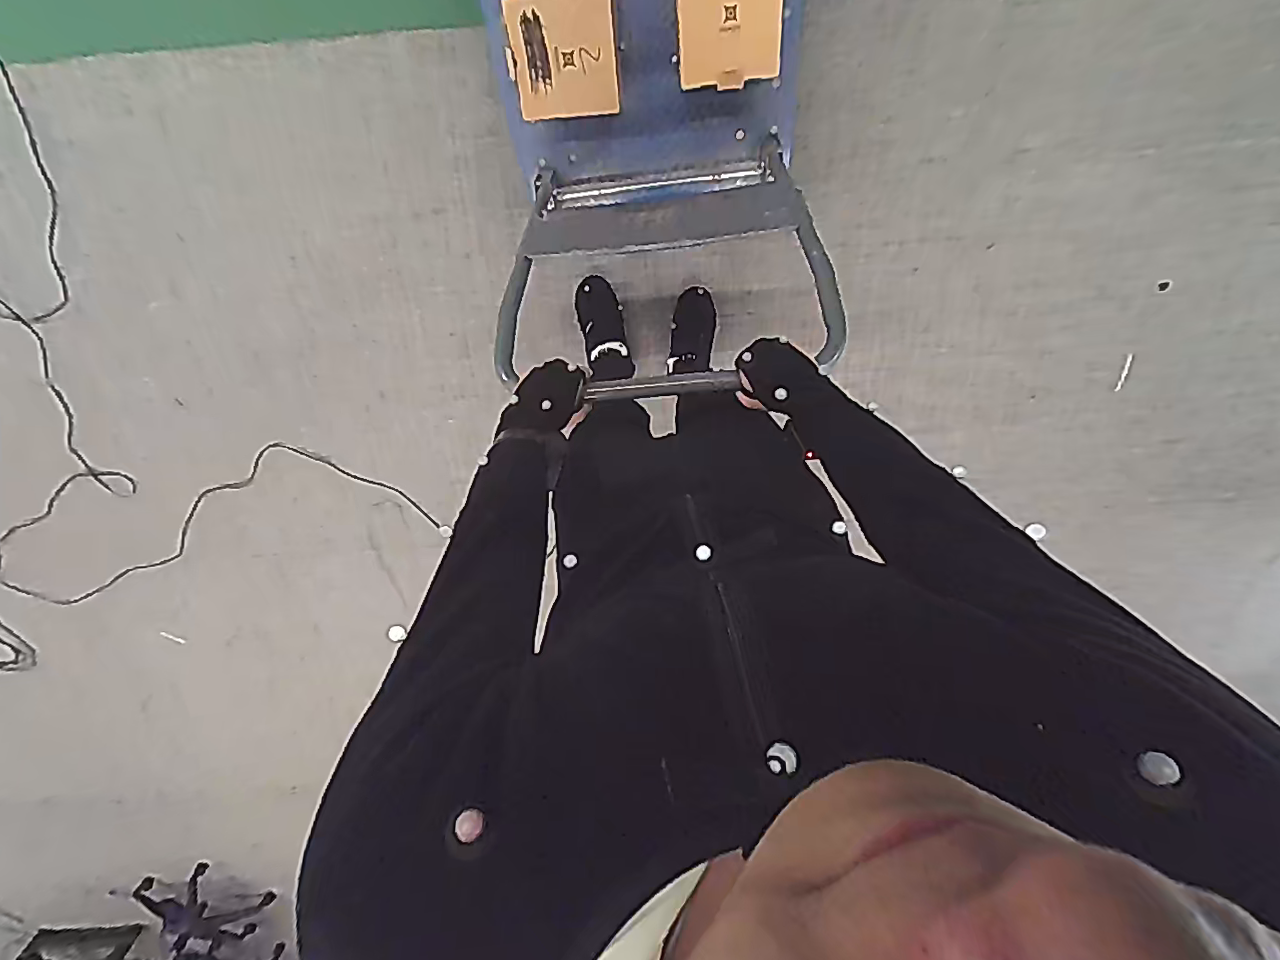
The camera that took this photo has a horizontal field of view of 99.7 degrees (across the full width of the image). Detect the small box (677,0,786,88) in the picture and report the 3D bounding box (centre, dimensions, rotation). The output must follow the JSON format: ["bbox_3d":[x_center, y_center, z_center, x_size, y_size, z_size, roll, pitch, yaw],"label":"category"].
[{"bbox_3d":[0.149,-0.794,0.914,0.168,0.176,0.179,-4,136,6],"label":"small box"}]
